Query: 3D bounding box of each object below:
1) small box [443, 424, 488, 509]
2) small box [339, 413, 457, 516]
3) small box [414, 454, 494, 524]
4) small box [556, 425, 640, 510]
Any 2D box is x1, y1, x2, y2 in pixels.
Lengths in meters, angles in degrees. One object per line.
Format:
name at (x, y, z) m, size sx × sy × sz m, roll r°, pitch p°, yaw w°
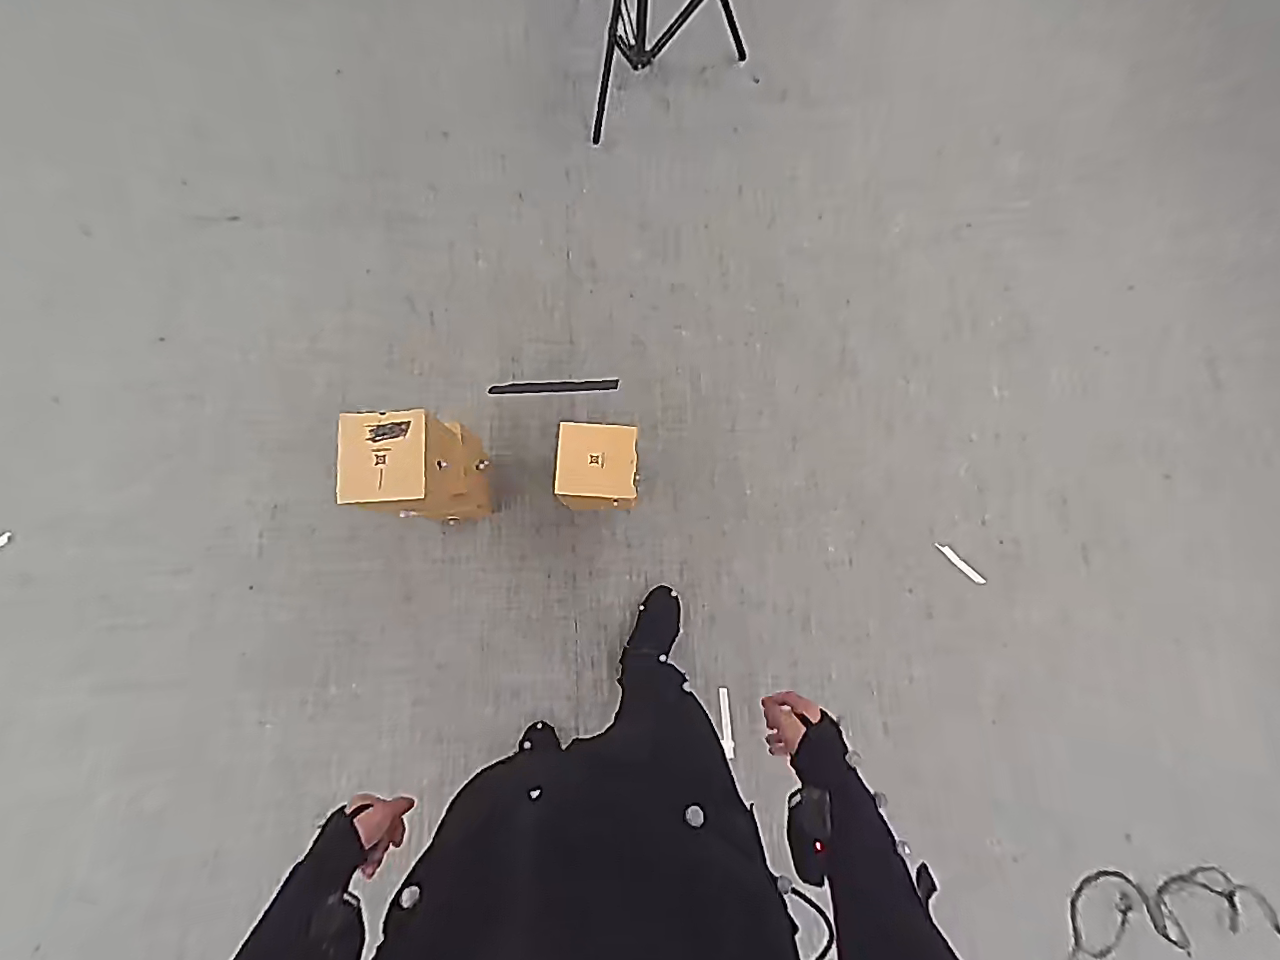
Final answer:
small box at (-0.466, -0.020, 1.253) m, size 0.179 × 0.176 × 0.168 m, roll -7°, pitch 80°, yaw -2°
small box at (-0.476, -0.026, 1.087) m, size 0.168 × 0.176 × 0.179 m, roll -3°, pitch 80°, yaw -1°
small box at (-0.484, 0.013, 1.413) m, size 0.168 × 0.176 × 0.179 m, roll -5°, pitch 80°, yaw -2°
small box at (-0.093, -0.023, 1.267) m, size 0.179 × 0.176 × 0.168 m, roll 4°, pitch 79°, yaw -2°
